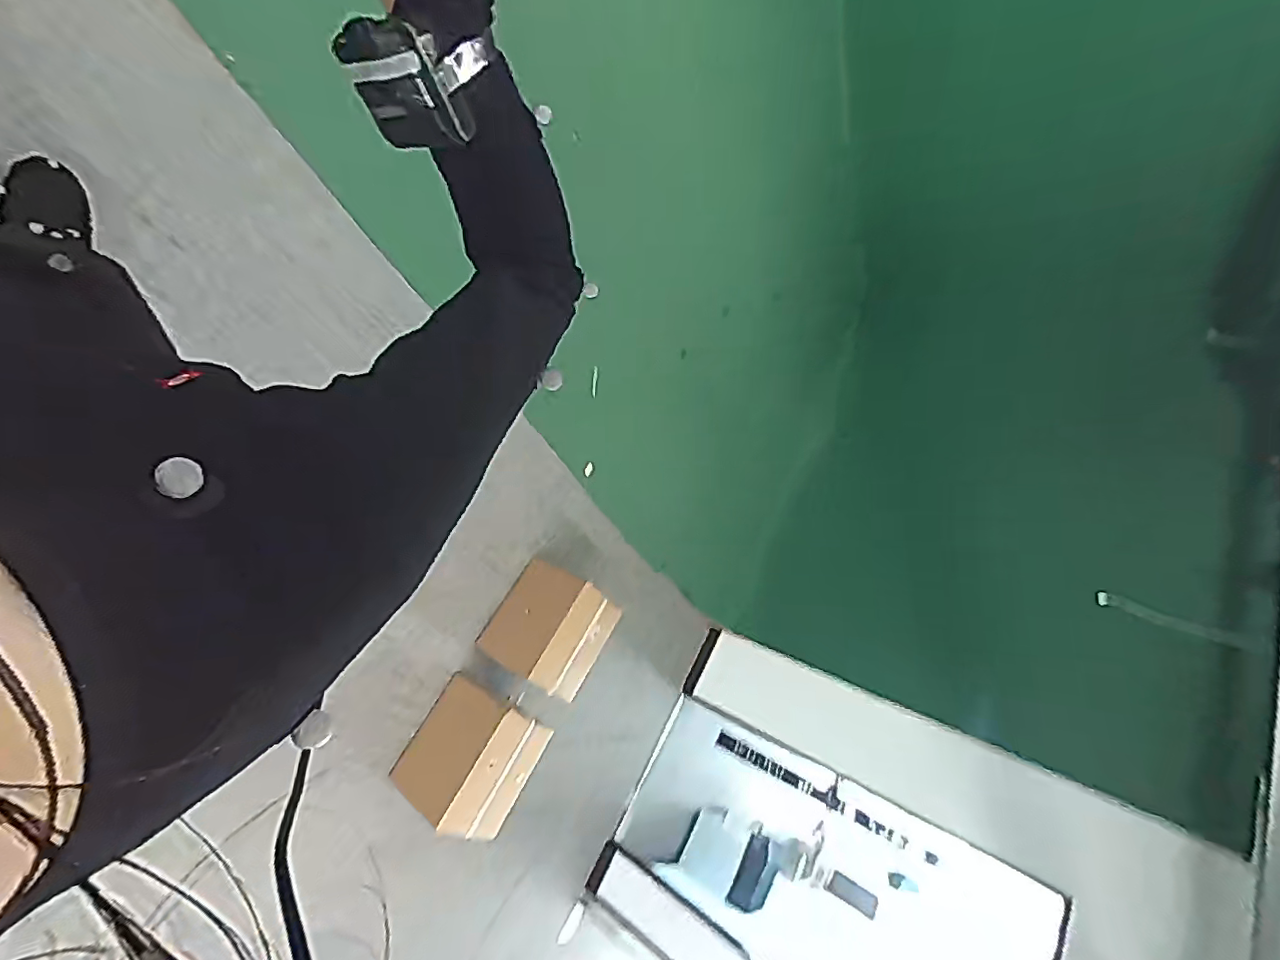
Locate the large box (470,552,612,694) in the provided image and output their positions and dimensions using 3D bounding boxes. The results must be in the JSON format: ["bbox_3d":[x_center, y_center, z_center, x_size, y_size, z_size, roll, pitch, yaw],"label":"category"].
[{"bbox_3d":[-0.383,0.556,2.127,0.408,0.320,0.320,-60,143,-22],"label":"large box"}]
